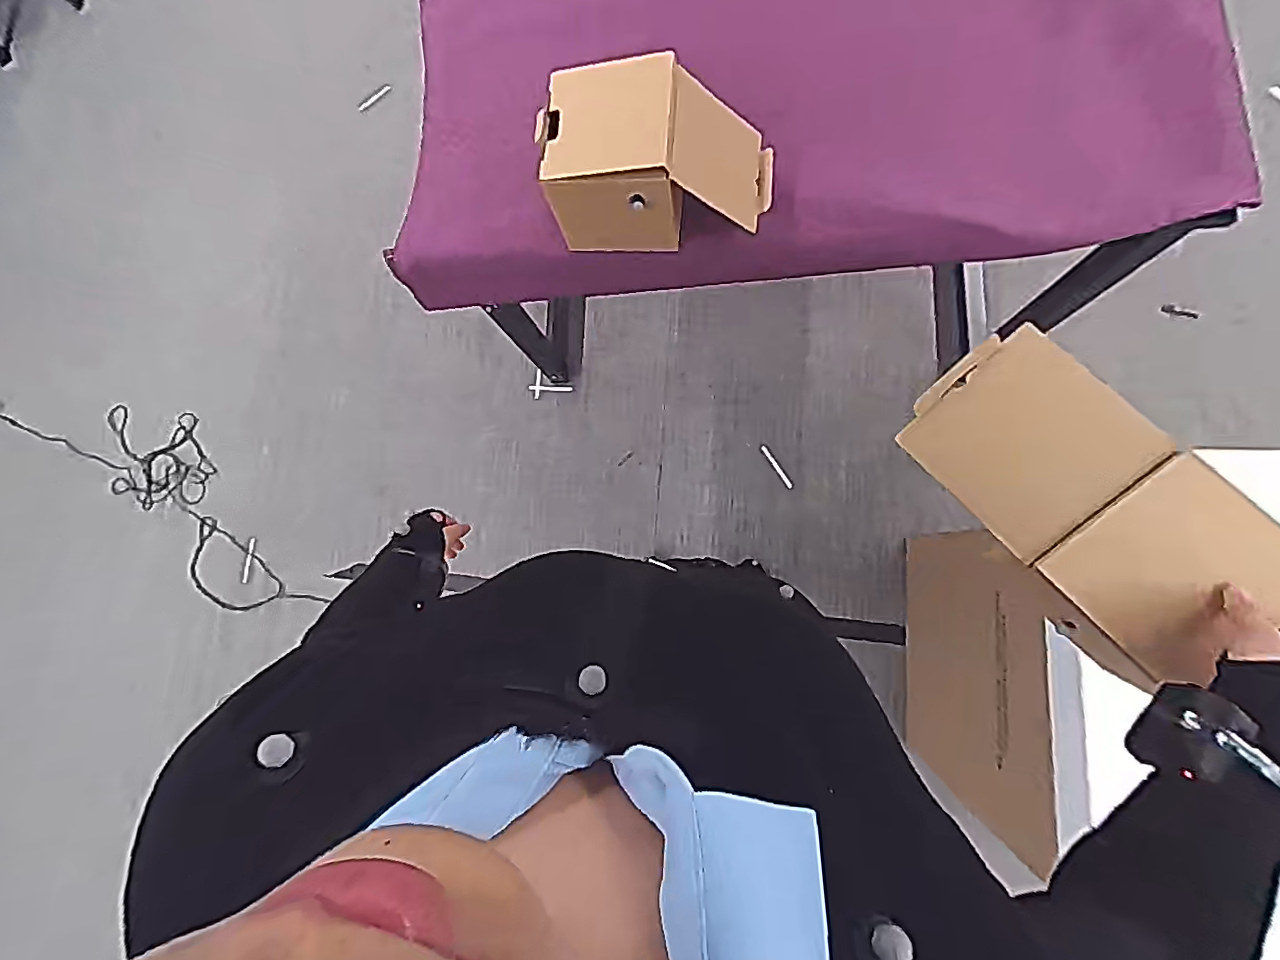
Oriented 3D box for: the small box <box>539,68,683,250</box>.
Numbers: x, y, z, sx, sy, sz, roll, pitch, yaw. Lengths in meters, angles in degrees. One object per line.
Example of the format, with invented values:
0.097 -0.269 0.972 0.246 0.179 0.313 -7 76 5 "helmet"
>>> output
-0.031 -0.456 0.791 0.179 0.176 0.168 4 81 9 "small box"
